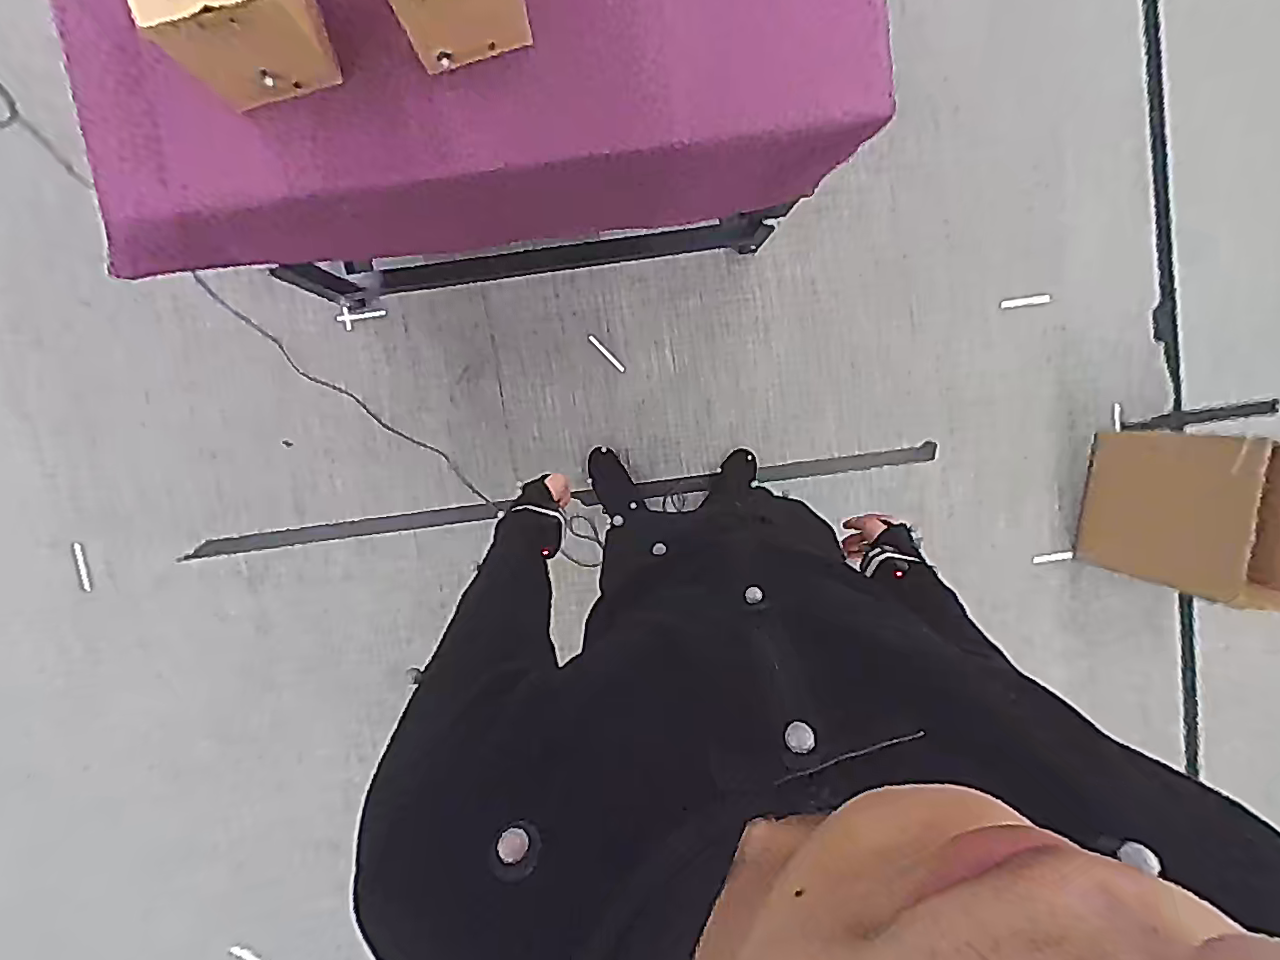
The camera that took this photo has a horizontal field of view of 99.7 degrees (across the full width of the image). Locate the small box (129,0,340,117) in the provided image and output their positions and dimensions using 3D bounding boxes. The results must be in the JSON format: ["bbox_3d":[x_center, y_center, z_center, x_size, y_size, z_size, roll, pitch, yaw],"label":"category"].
[{"bbox_3d":[-0.540,-0.634,0.717,0.168,0.176,0.179,-17,96,-1],"label":"small box"}]

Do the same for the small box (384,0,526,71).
[{"bbox_3d":[-0.265,-0.698,0.727,0.168,0.176,0.179,-19,95,-1],"label":"small box"}]
